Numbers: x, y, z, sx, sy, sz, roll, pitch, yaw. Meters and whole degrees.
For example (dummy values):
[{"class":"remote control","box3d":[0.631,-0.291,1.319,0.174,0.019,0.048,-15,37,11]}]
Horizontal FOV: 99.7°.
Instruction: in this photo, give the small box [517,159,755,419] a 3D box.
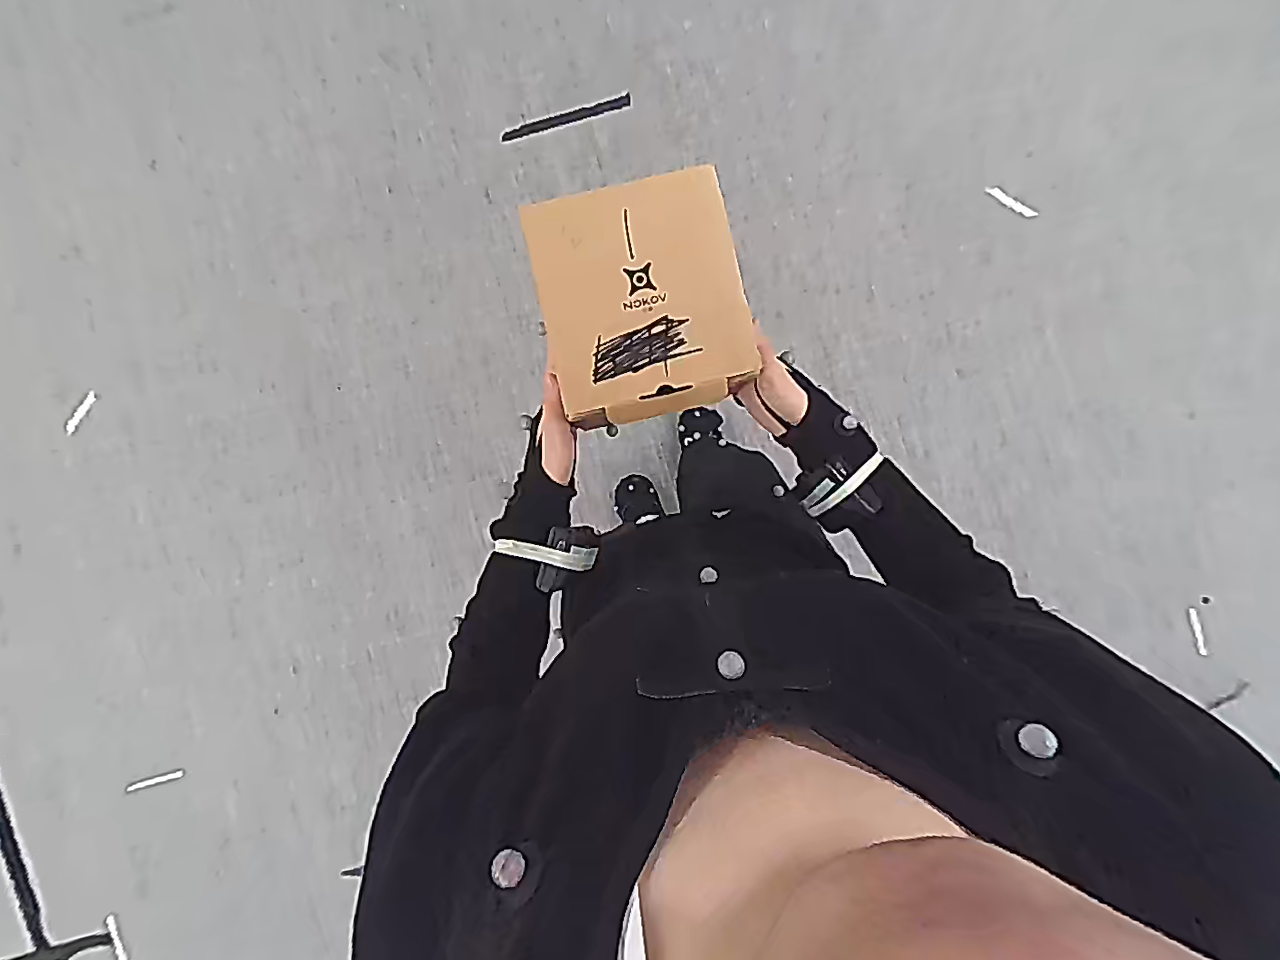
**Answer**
[{"class":"small box","box3d":[-0.003,-0.160,0.516,0.168,0.176,0.179,-13,91,-1]}]
